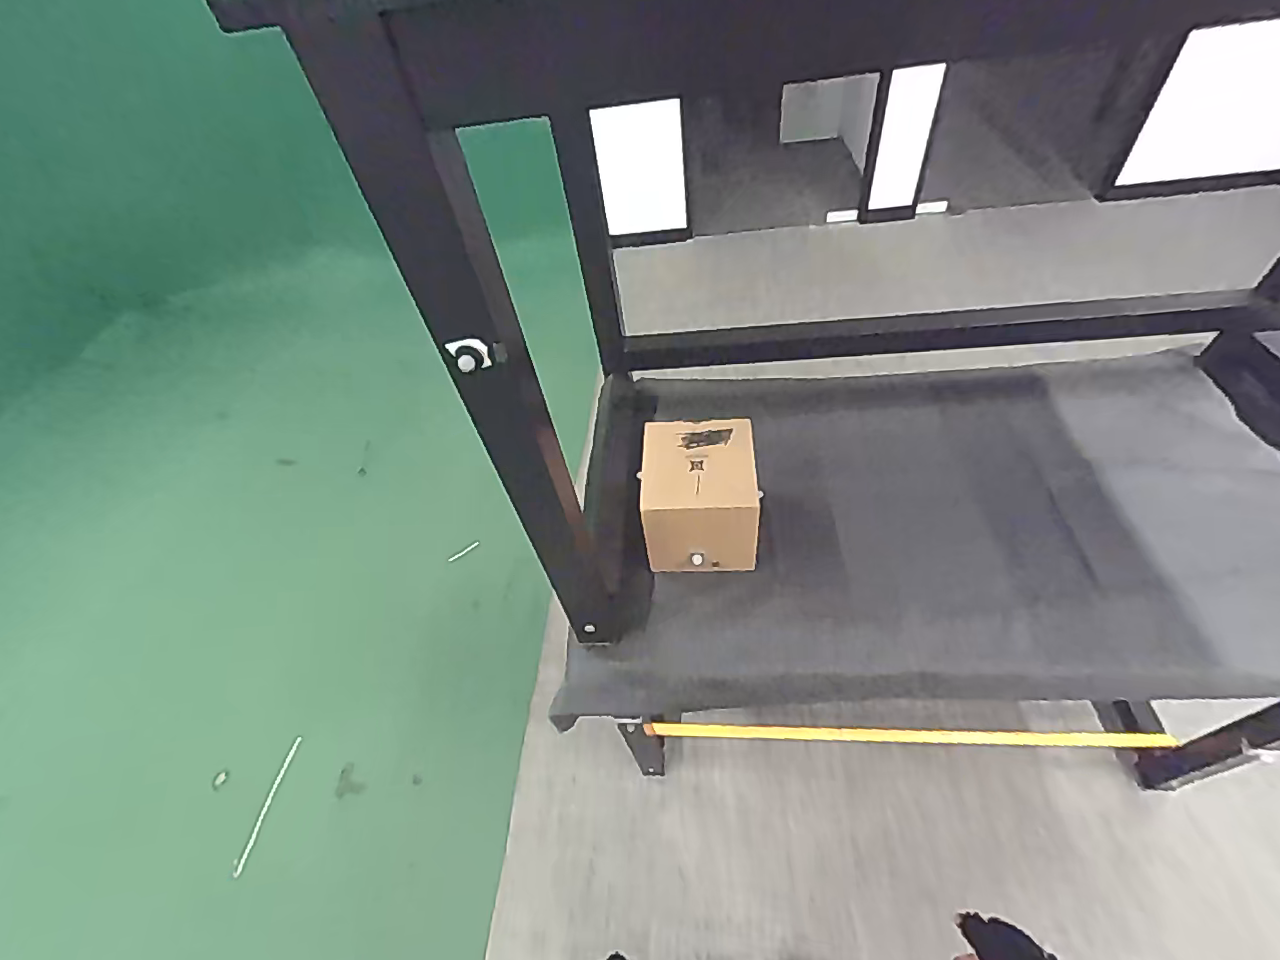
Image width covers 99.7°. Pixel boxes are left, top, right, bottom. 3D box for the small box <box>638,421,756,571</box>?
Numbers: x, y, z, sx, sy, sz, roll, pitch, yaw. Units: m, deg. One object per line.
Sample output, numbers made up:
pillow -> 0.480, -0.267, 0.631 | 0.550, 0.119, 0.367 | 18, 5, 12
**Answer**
small box -> 0.091, 0.026, 0.860 | 0.168, 0.176, 0.179 | -2, 49, 7
